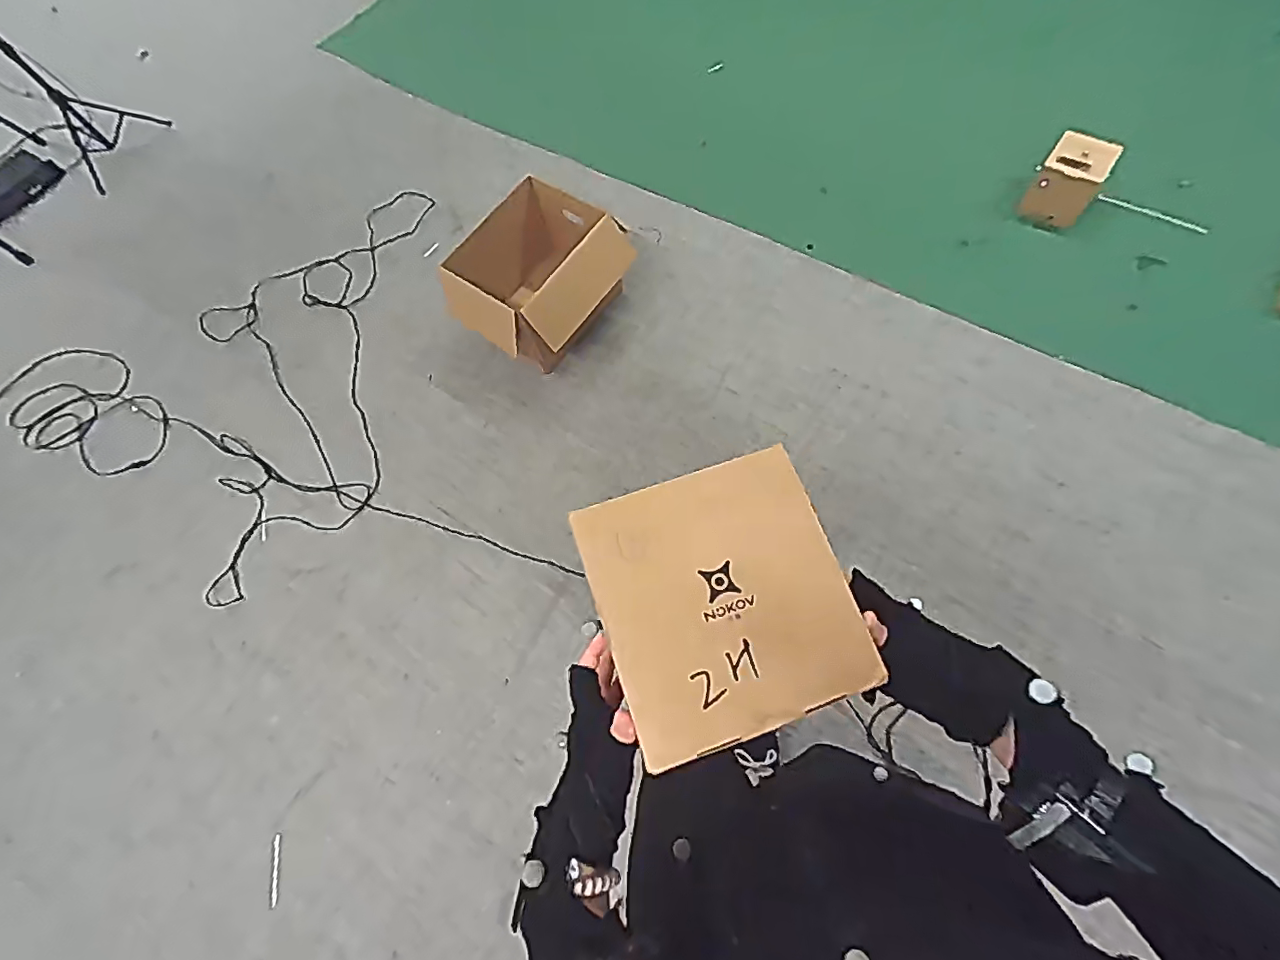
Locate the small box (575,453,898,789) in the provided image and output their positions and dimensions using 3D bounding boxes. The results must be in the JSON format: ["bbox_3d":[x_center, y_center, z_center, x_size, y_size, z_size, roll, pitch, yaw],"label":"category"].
[{"bbox_3d":[0.055,0.105,0.424,0.168,0.176,0.179,-18,74,-7],"label":"small box"}]
